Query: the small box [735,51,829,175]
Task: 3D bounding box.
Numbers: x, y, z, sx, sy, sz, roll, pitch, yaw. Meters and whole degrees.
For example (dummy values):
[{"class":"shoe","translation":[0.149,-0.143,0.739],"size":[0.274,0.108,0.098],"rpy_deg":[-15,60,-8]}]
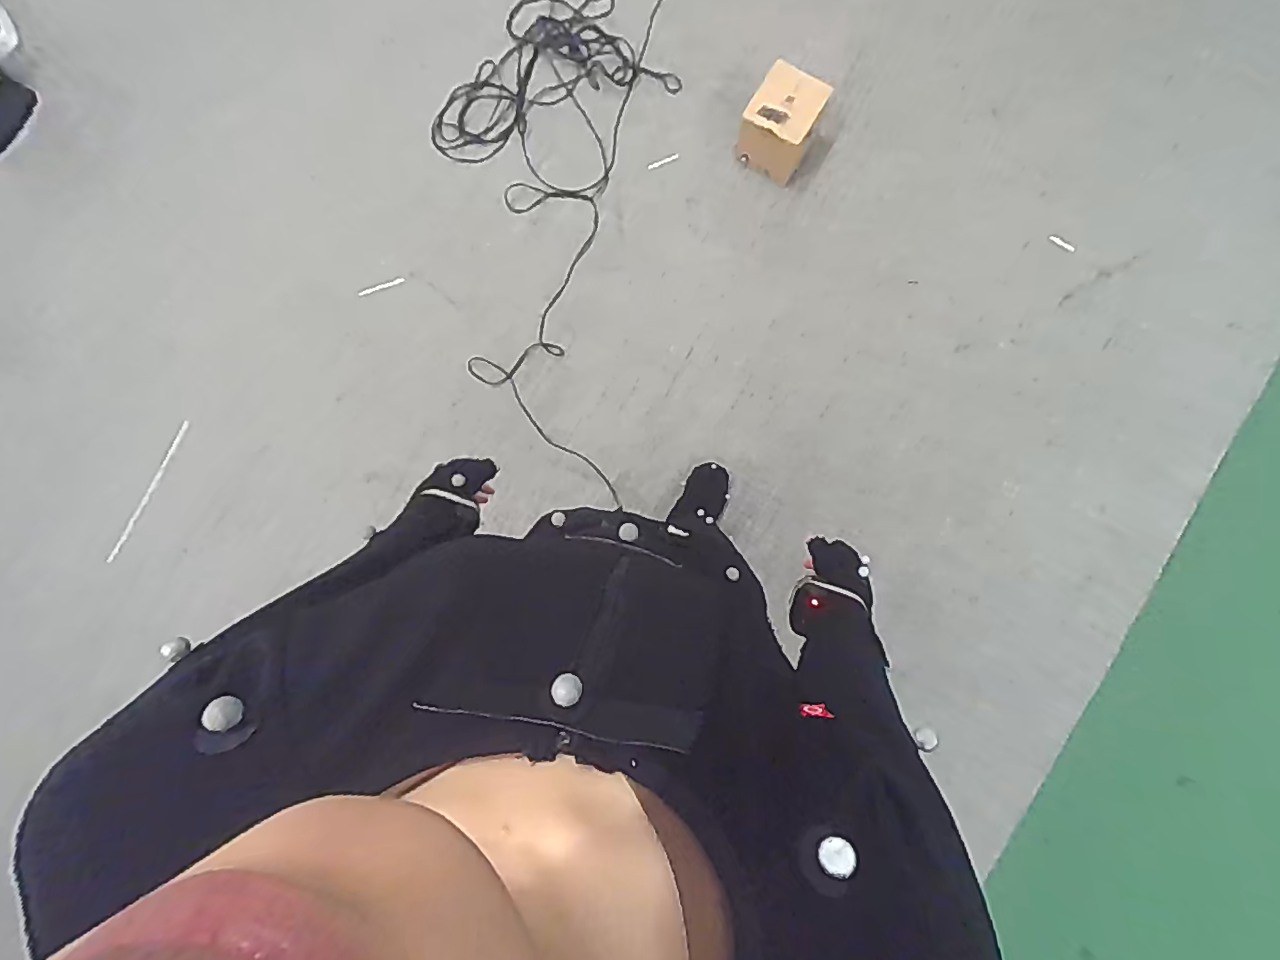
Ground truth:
[{"class":"small box","translation":[0.363,-0.951,1.420],"size":[0.168,0.176,0.179],"rpy_deg":[32,90,4]}]
